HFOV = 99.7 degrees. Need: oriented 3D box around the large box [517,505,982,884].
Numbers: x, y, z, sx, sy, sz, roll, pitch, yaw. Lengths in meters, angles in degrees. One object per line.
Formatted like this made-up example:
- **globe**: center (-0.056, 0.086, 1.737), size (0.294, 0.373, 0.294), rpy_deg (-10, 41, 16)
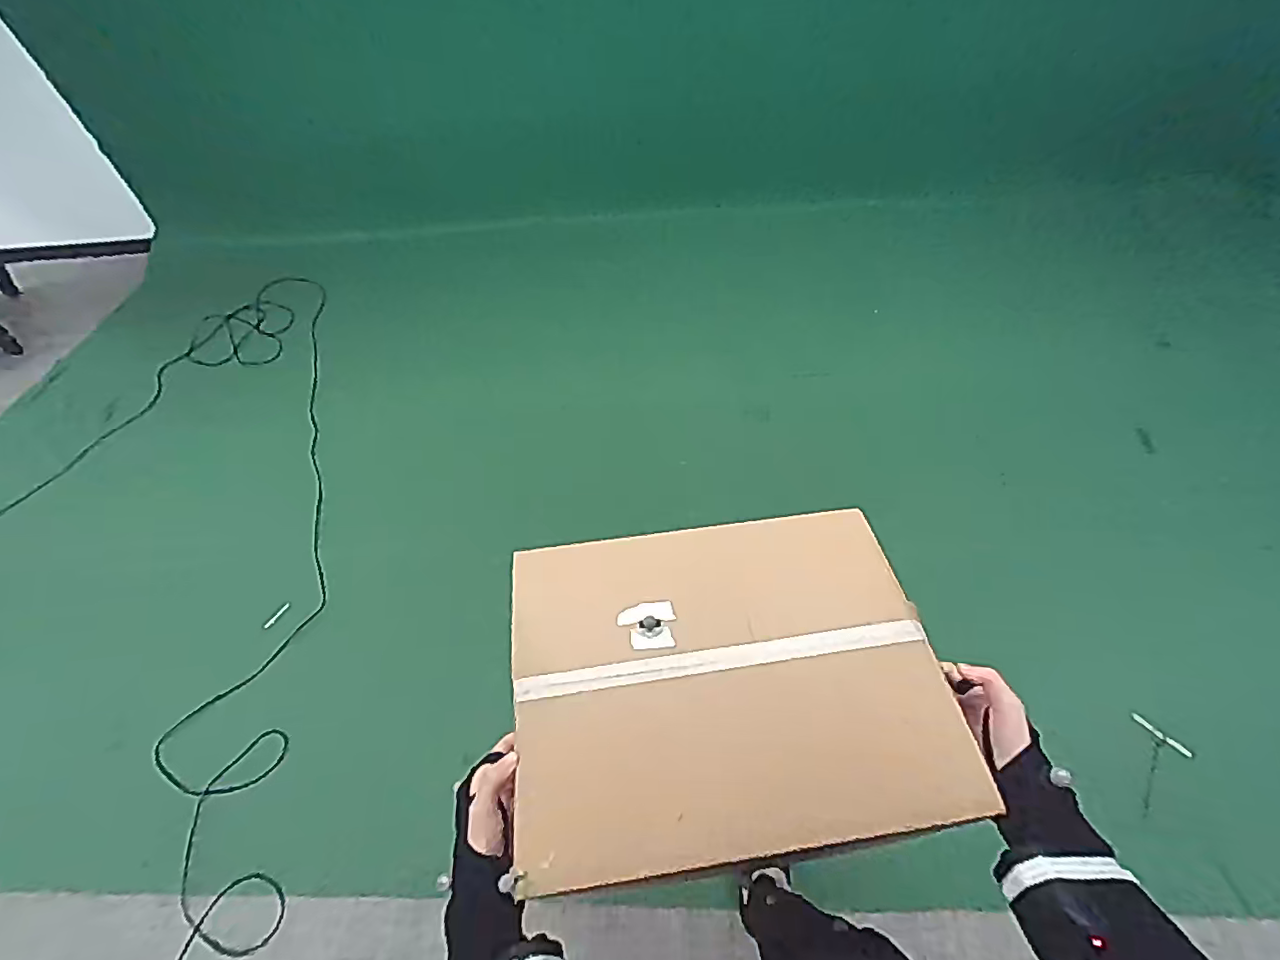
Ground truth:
- **large box**: center (0.085, 0.265, 0.657), size (0.408, 0.320, 0.320), rpy_deg (-8, 52, -4)
